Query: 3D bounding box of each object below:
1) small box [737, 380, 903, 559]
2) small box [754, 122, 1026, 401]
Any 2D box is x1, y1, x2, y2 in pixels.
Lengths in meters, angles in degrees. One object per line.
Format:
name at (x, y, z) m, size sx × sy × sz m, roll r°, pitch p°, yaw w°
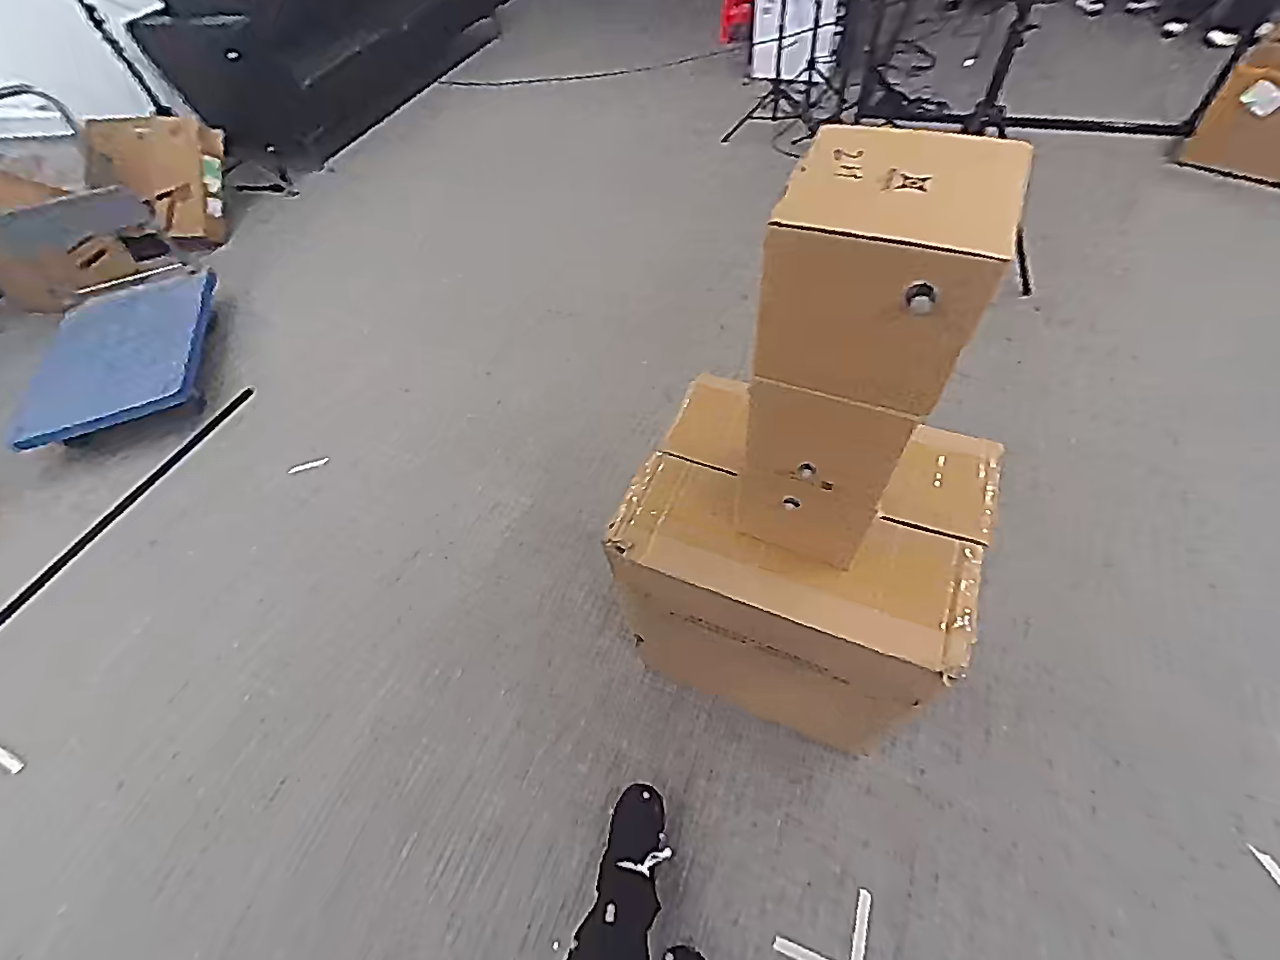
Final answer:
small box at (0.247, -0.011, 0.774) m, size 0.179 × 0.176 × 0.168 m, roll 19°, pitch 60°, yaw 19°
small box at (0.217, -0.197, 0.504) m, size 0.179 × 0.176 × 0.168 m, roll 18°, pitch 60°, yaw 19°
